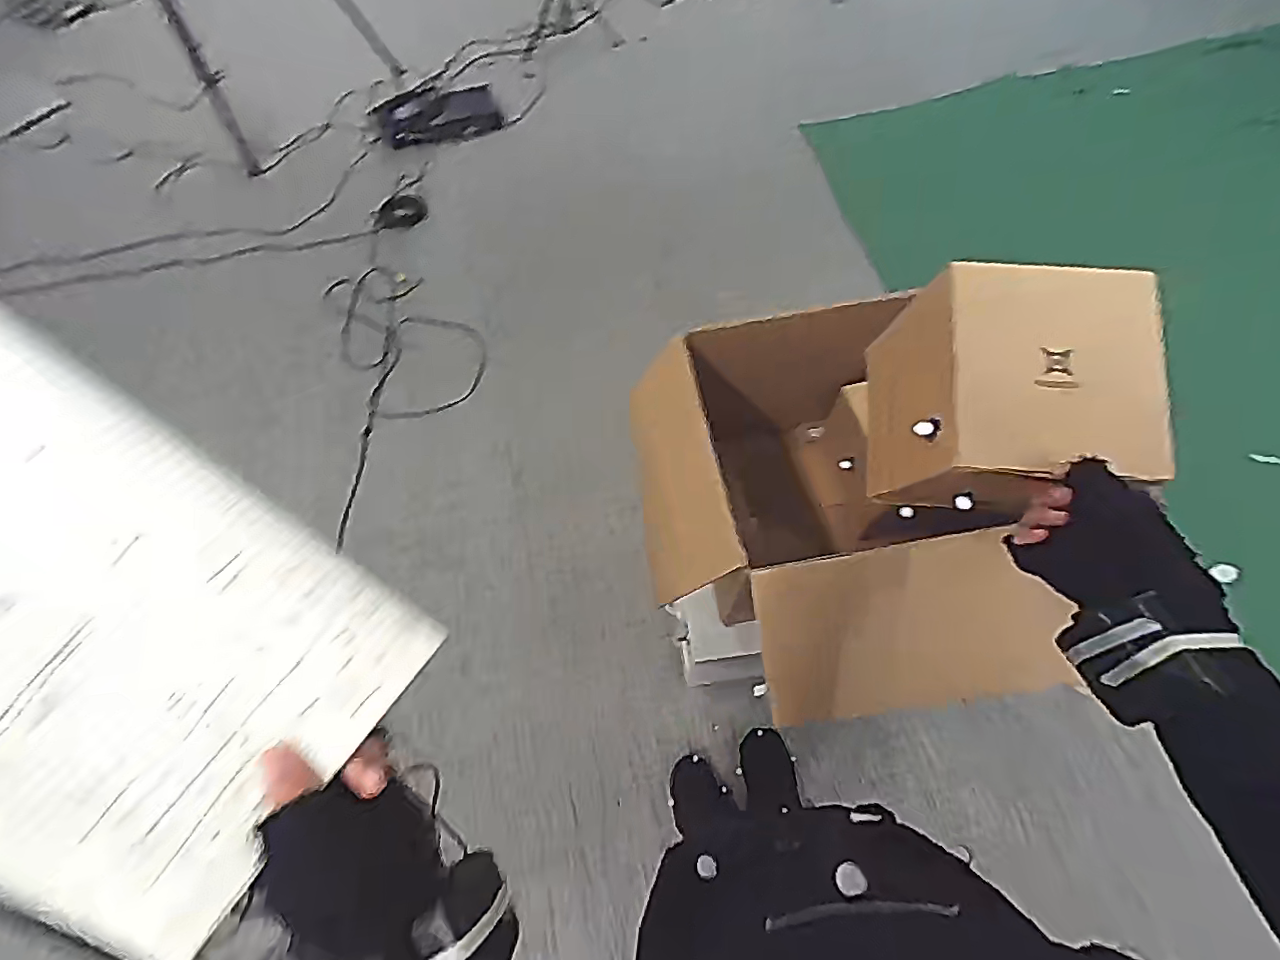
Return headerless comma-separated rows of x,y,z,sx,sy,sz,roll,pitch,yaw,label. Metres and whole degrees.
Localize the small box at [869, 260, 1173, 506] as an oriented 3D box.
0.328,-0.076,0.504,0.168,0.176,0.179,3,81,0,small box
